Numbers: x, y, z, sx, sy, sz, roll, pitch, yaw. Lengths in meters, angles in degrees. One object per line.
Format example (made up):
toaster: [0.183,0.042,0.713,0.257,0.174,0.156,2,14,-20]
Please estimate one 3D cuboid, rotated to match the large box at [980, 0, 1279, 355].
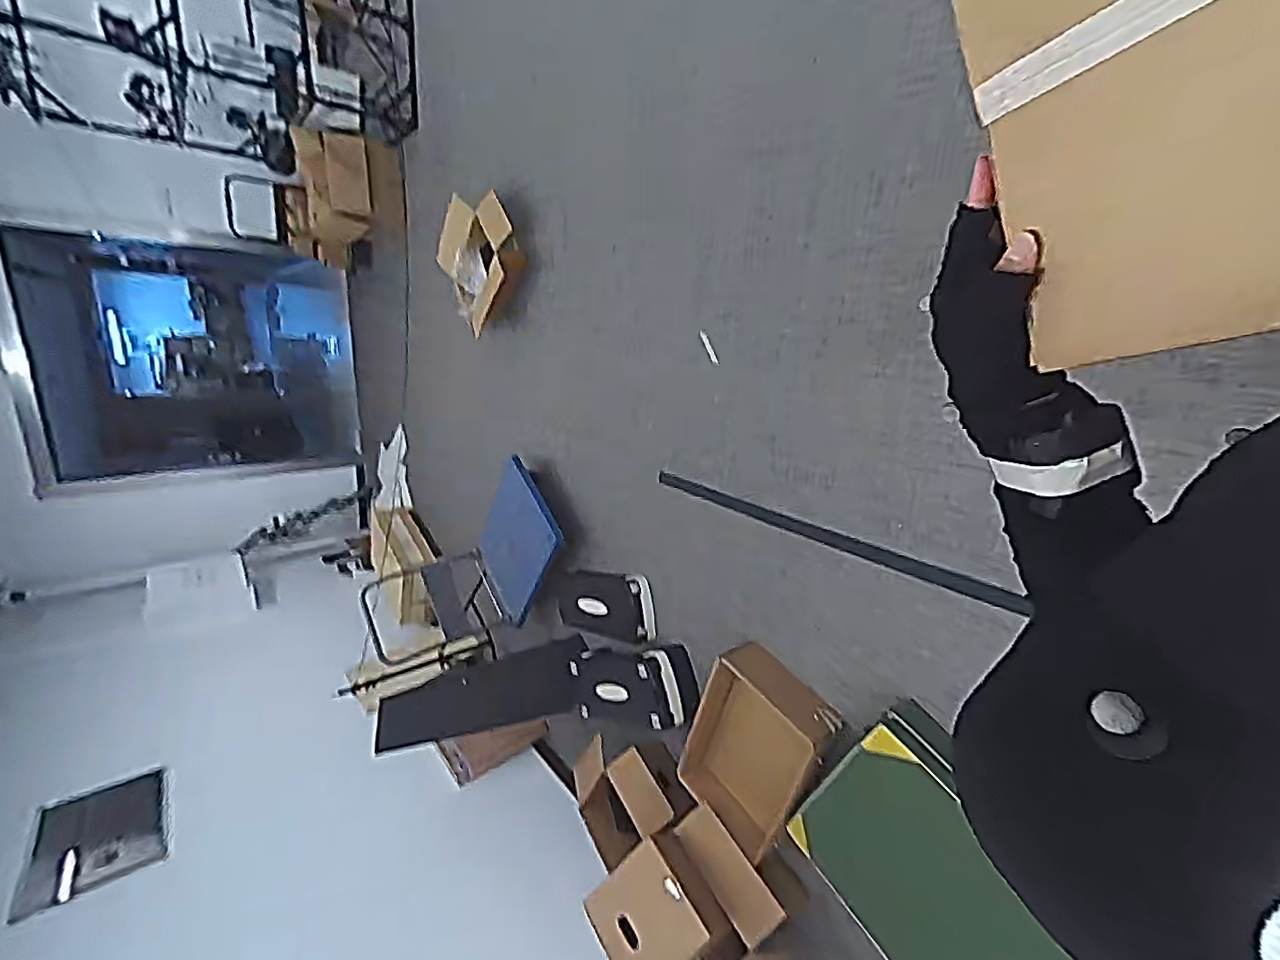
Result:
large box: [0.435,-0.279,0.240,0.408,0.320,0.320,-5,107,54]
